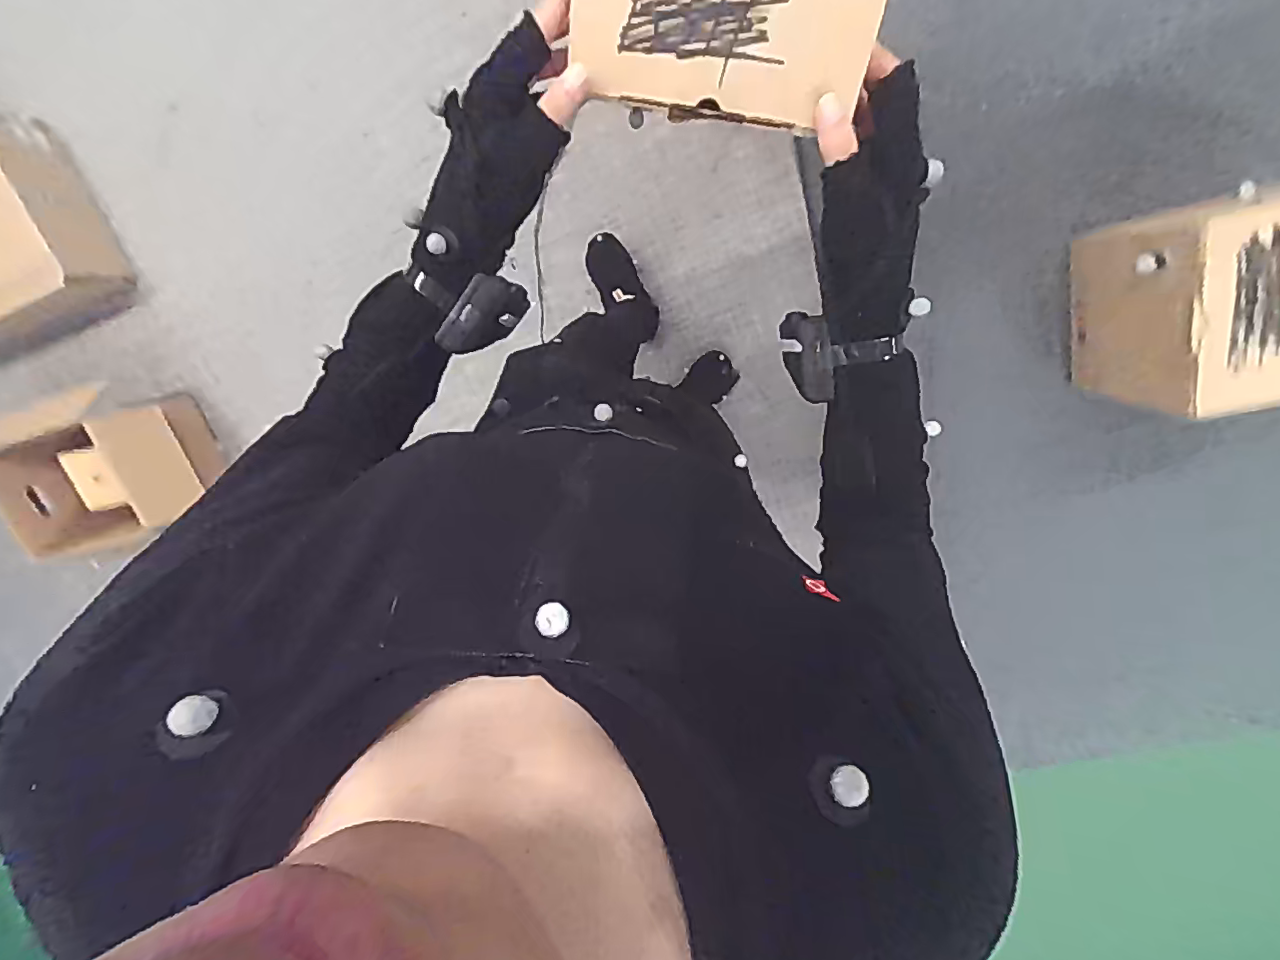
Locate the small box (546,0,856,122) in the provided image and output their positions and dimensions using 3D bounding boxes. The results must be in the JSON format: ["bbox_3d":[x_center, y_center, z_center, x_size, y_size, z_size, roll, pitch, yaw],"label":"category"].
[{"bbox_3d":[0.044,-0.334,0.330,0.168,0.176,0.179,8,123,-2],"label":"small box"}]
